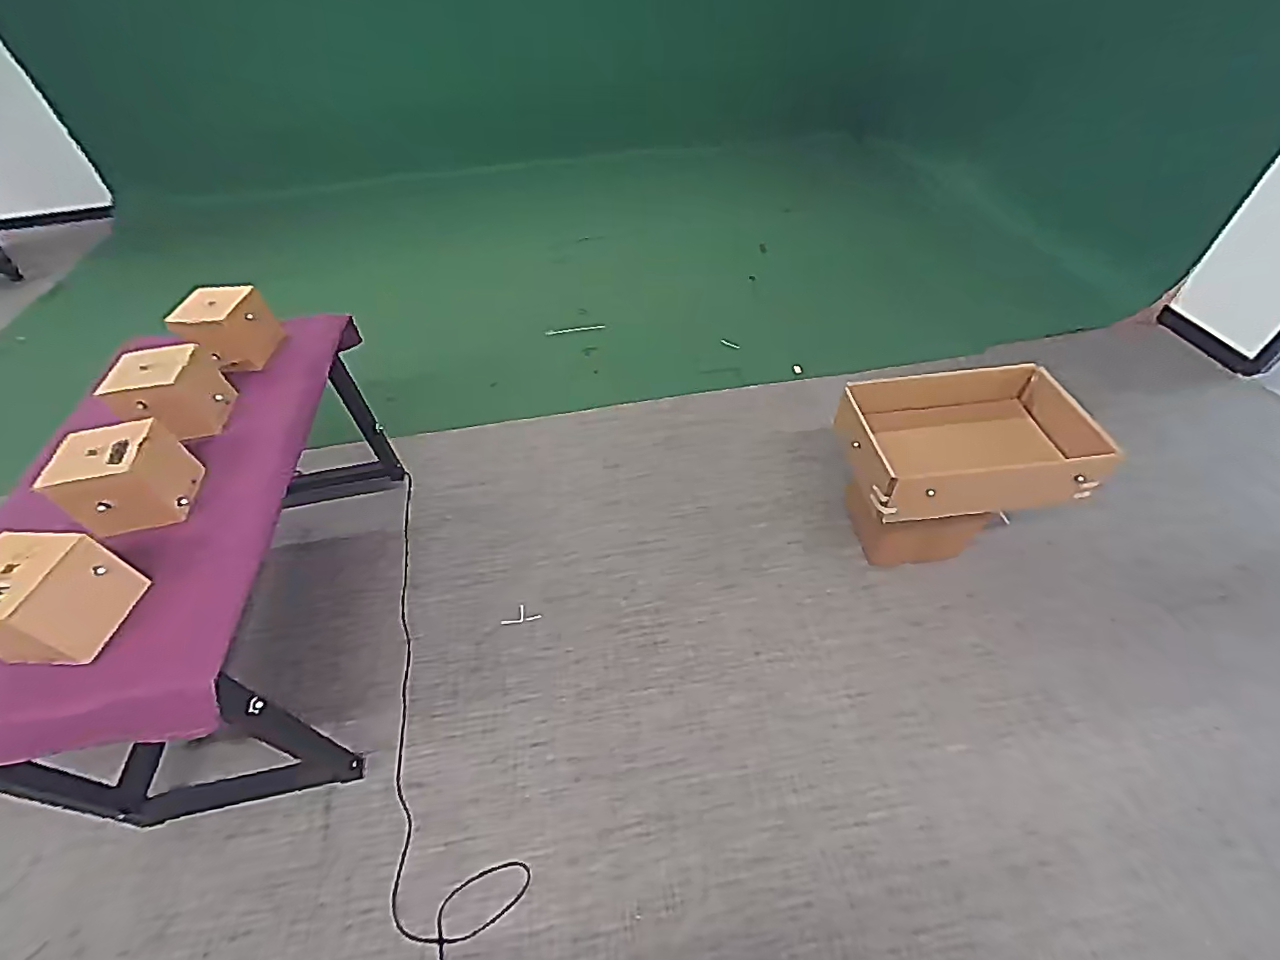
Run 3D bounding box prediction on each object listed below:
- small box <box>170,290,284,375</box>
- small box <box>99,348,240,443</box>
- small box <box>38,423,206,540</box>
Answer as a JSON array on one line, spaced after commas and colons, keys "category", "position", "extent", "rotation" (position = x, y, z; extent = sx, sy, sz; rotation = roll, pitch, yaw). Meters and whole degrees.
[{"category": "small box", "position": [-1.161, -0.419, 1.540], "extent": [0.168, 0.176, 0.179], "rotation": [-2, 50, 3]}, {"category": "small box", "position": [-1.162, -0.204, 1.353], "extent": [0.179, 0.176, 0.168], "rotation": [-10, 50, -4]}, {"category": "small box", "position": [-1.095, 0.005, 1.166], "extent": [0.179, 0.176, 0.168], "rotation": [-13, 49, -5]}]
